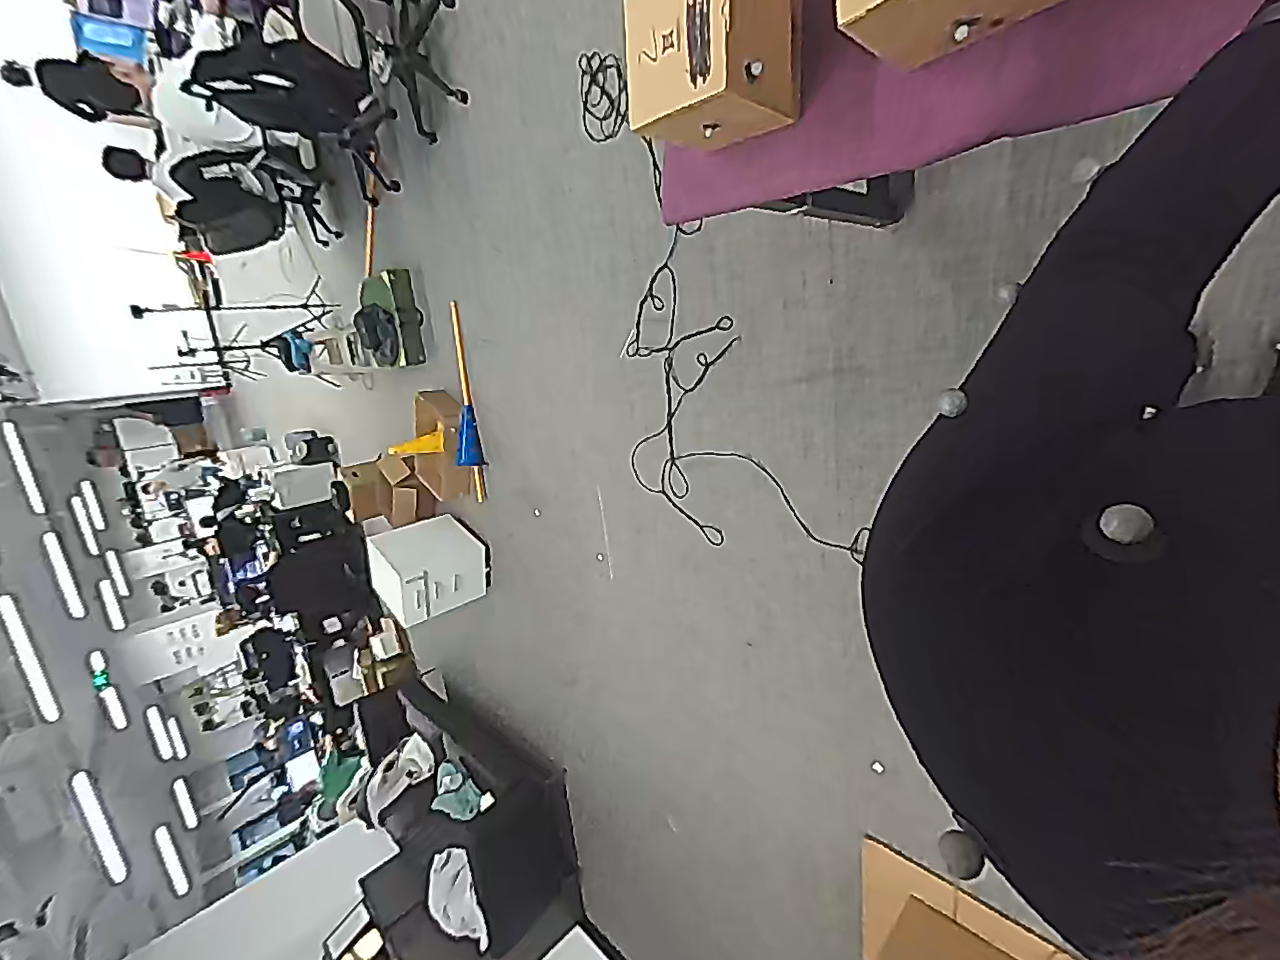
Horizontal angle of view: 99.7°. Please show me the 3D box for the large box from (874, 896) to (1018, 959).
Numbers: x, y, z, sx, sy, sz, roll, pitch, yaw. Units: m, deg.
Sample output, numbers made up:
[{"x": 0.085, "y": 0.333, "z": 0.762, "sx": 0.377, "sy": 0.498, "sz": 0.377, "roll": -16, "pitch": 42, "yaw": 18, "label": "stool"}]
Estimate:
[{"x": 0.945, "y": 1.570, "z": 1.588, "sx": 0.408, "sy": 0.320, "sz": 0.320, "roll": 7, "pitch": 108, "yaw": 47, "label": "large box"}]

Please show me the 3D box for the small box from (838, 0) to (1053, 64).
[{"x": 0.307, "y": -0.558, "z": 0.525, "sx": 0.168, "sy": 0.176, "sz": 0.179, "roll": 5, "pitch": 107, "yaw": 47, "label": "small box"}]
